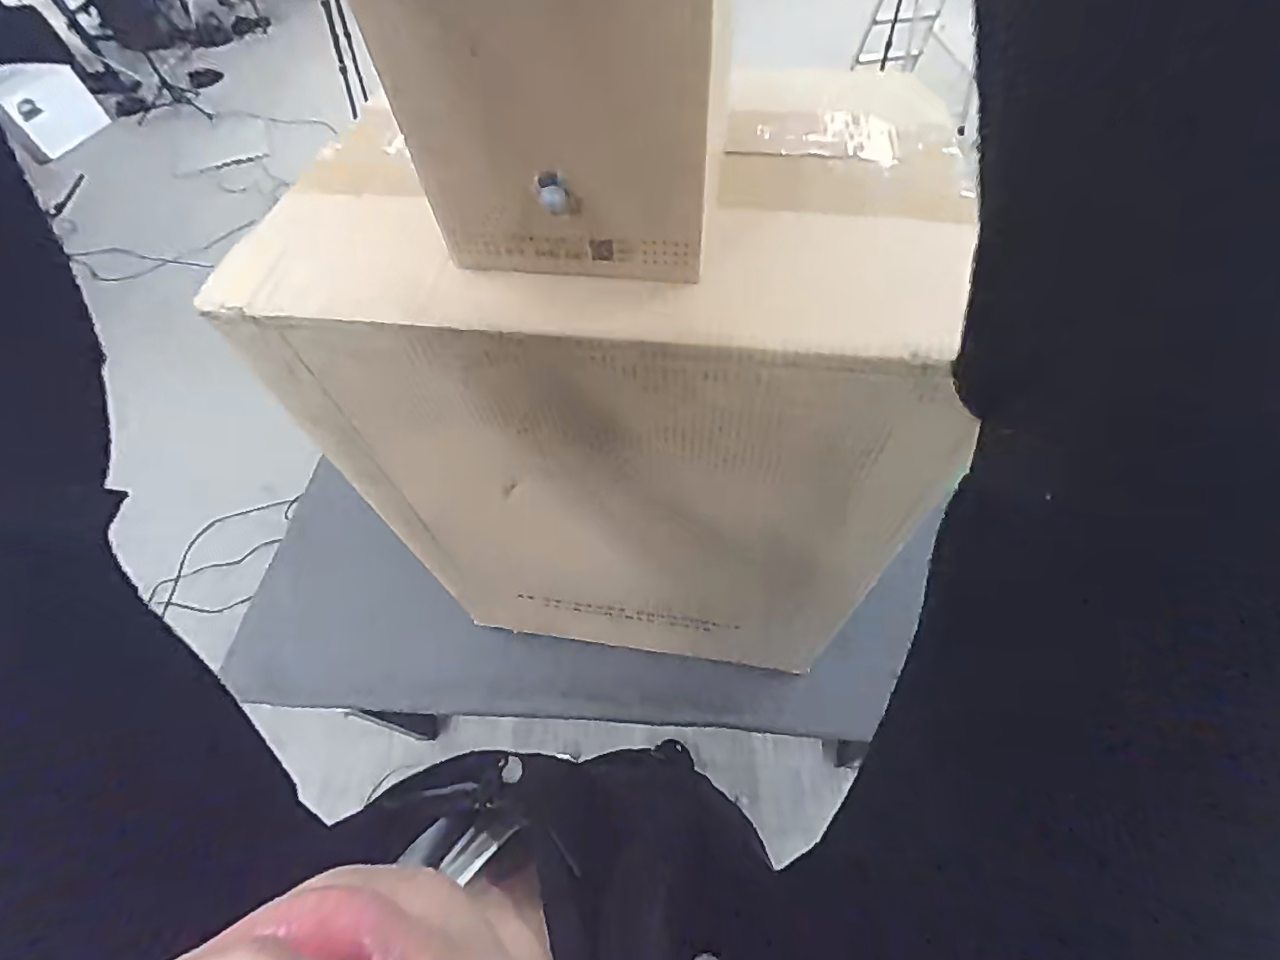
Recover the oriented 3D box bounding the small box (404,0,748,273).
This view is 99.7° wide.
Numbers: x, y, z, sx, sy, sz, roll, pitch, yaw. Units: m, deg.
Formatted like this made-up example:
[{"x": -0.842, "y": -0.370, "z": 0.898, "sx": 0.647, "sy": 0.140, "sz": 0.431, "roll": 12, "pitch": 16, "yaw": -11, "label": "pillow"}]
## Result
[{"x": -0.023, "y": -0.257, "z": 0.331, "sx": 0.168, "sy": 0.176, "sz": 0.179, "roll": 7, "pitch": 59, "yaw": 7, "label": "small box"}]
